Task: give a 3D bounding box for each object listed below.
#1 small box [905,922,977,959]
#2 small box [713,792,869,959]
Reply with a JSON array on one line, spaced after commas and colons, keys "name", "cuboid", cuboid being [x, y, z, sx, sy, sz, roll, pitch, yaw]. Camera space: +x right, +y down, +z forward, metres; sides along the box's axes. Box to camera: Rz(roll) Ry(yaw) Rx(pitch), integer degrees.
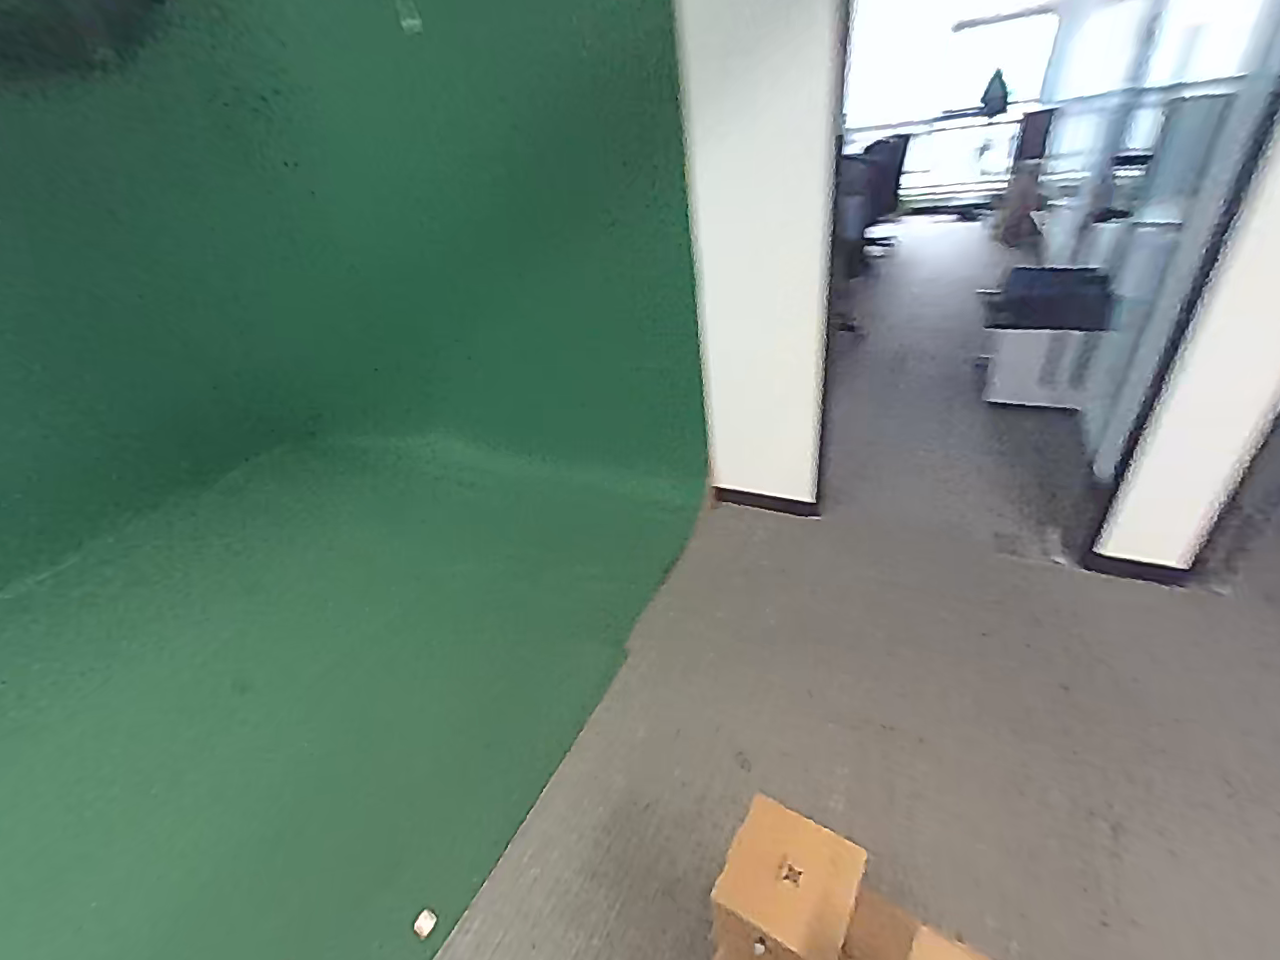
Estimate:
[{"name": "small box", "cuboid": [0.321, 0.607, 0.528, 0.168, 0.176, 0.179, 19, 40, 36]}, {"name": "small box", "cuboid": [0.228, 0.628, 0.819, 0.179, 0.176, 0.168, 14, 39, 32]}]
